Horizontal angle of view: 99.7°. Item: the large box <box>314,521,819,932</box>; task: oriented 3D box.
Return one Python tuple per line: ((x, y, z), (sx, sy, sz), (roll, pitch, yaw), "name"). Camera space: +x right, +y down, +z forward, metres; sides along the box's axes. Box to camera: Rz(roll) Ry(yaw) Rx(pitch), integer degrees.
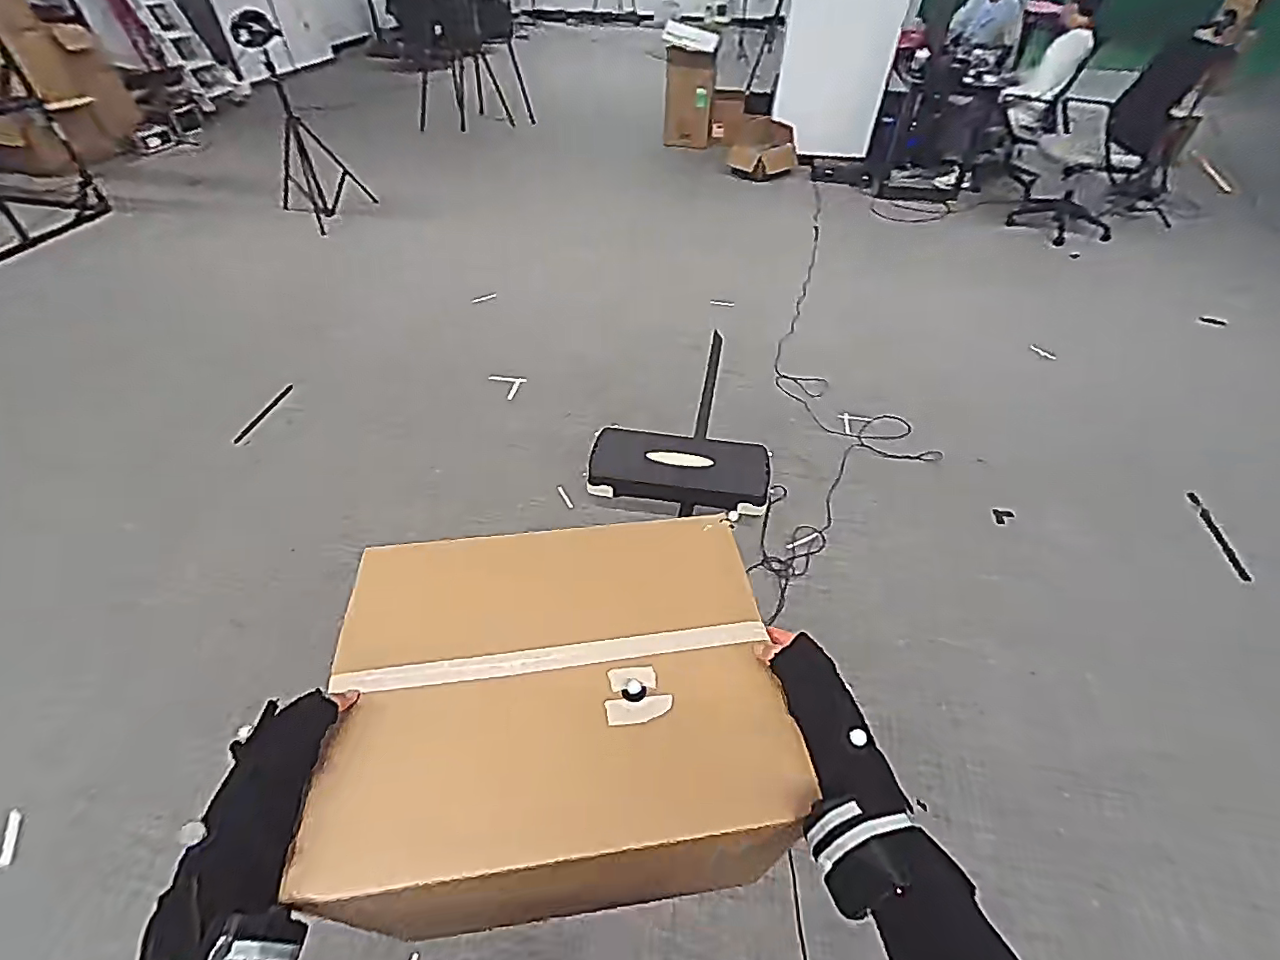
((-0.072, 0.277, 0.627), (0.408, 0.320, 0.320), (-4, 46, -6), "large box")
